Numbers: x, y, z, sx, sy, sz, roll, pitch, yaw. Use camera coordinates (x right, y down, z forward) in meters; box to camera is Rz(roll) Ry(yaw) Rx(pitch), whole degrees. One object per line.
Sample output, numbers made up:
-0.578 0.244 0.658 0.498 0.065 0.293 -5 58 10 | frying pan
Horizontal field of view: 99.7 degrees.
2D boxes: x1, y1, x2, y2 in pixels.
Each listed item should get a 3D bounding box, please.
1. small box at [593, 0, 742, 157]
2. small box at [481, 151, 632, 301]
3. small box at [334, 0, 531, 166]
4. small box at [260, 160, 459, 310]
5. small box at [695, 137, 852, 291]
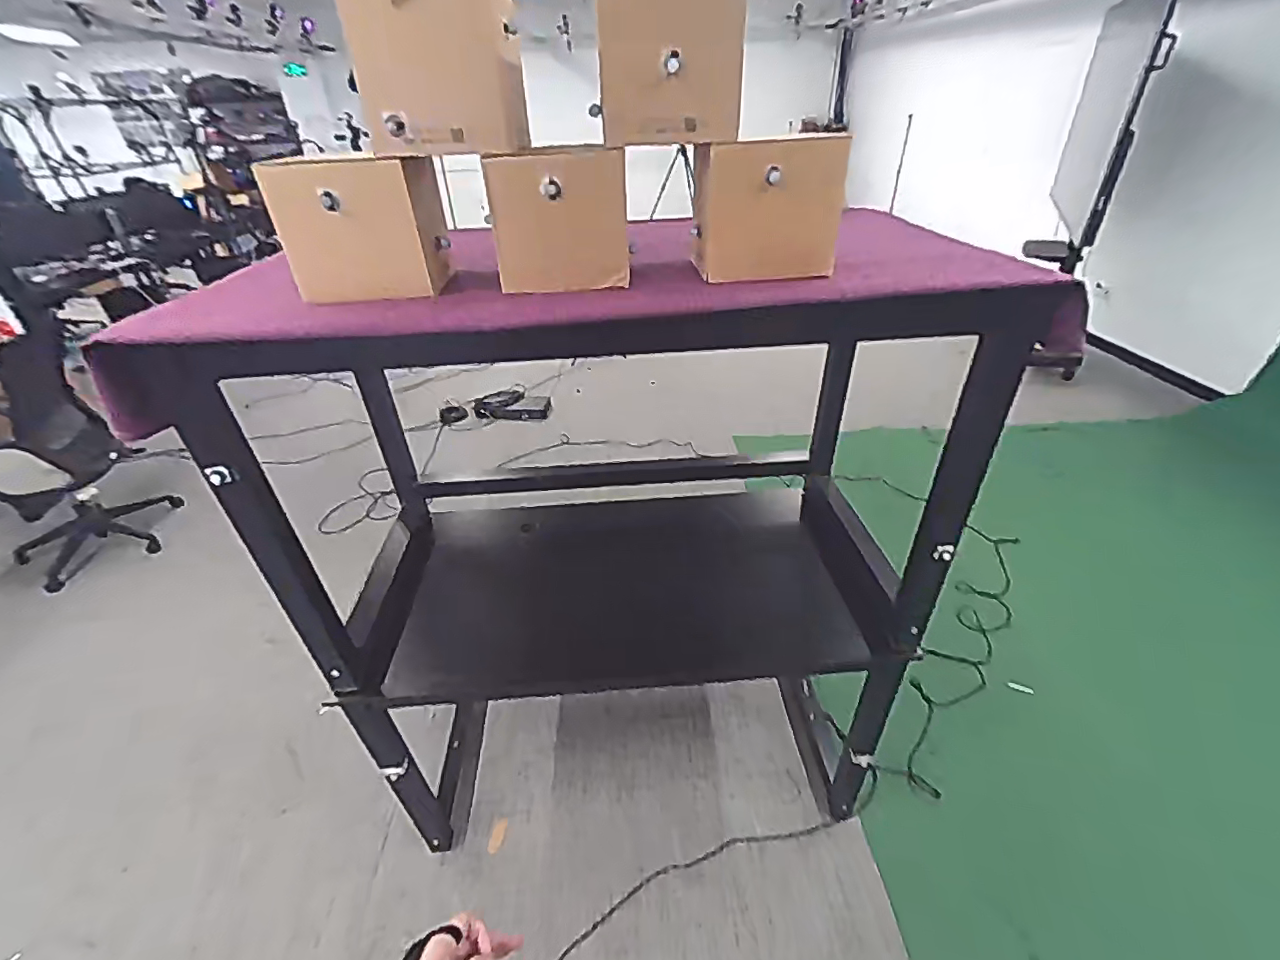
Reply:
0.031 -0.509 0.680 0.168 0.176 0.179 -4 34 -2 | small box
-0.105 -0.357 0.757 0.179 0.176 0.168 -3 34 -1 | small box
-0.237 -0.493 0.674 0.168 0.176 0.179 -2 33 0 | small box
-0.373 -0.345 0.758 0.179 0.176 0.168 -5 35 -3 | small box
0.173 -0.377 0.765 0.179 0.176 0.168 -5 34 0 | small box
